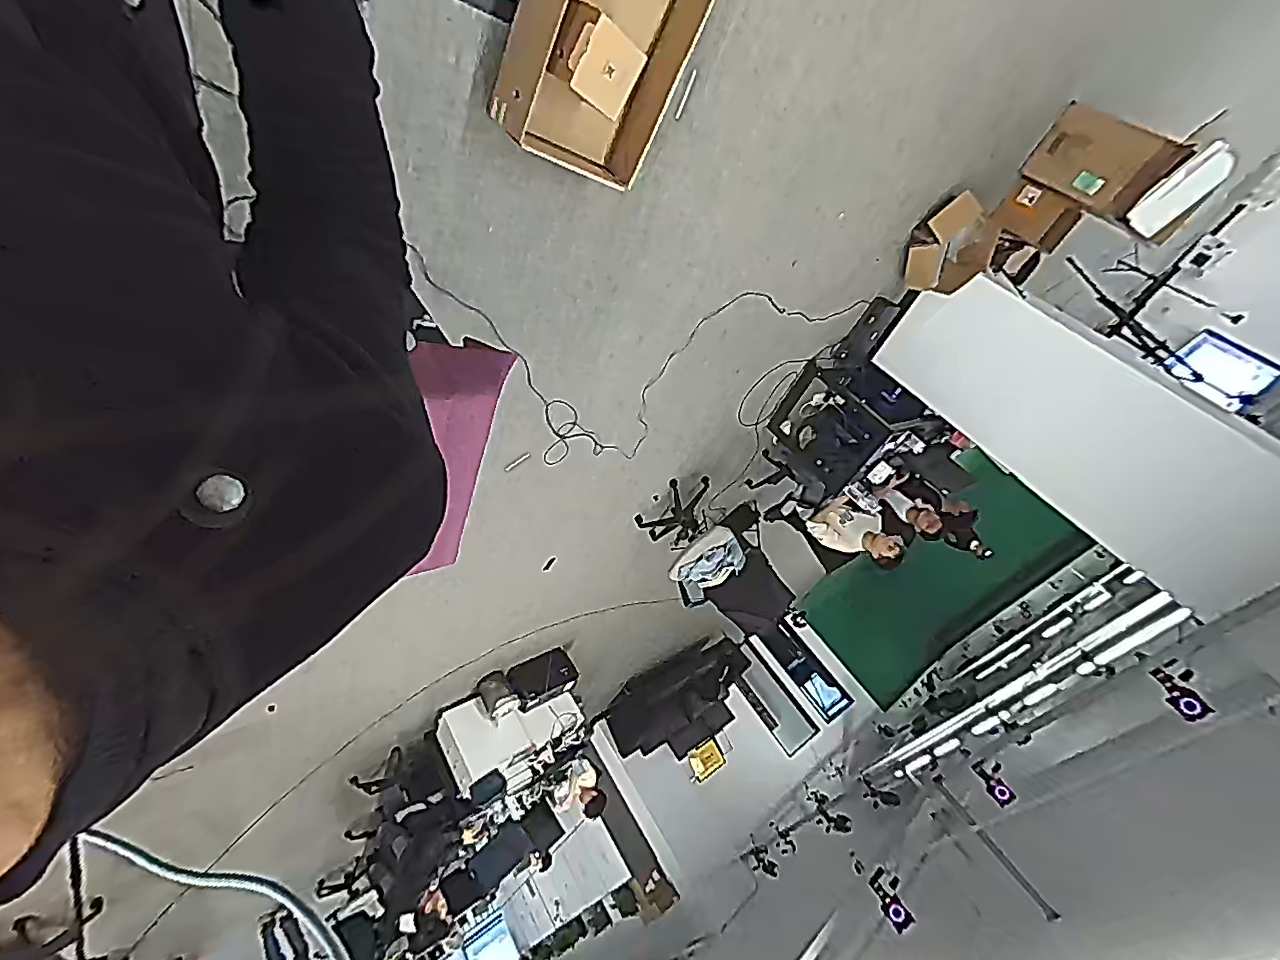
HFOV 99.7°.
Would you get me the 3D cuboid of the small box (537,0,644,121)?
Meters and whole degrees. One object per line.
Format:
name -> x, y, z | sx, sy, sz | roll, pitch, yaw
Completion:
small box -> -0.131, -1.068, 1.375 | 0.179, 0.176, 0.168 | 2, 132, -52
